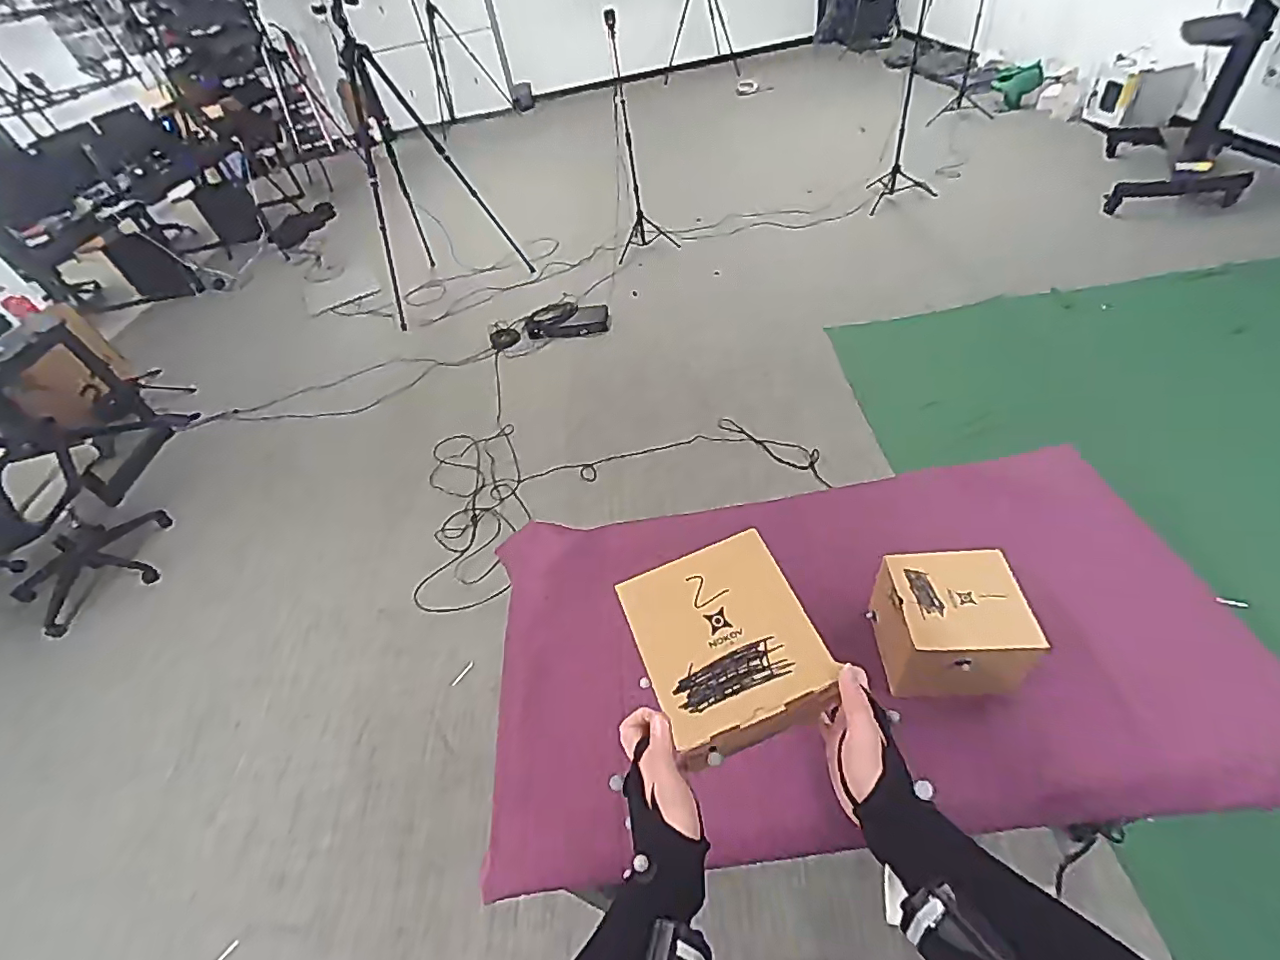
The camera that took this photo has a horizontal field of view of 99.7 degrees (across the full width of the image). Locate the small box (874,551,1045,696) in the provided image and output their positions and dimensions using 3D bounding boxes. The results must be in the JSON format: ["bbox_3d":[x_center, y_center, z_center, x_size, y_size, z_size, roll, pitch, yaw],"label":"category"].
[{"bbox_3d":[0.482,0.230,0.854,0.179,0.176,0.168,-3,47,8],"label":"small box"}]
